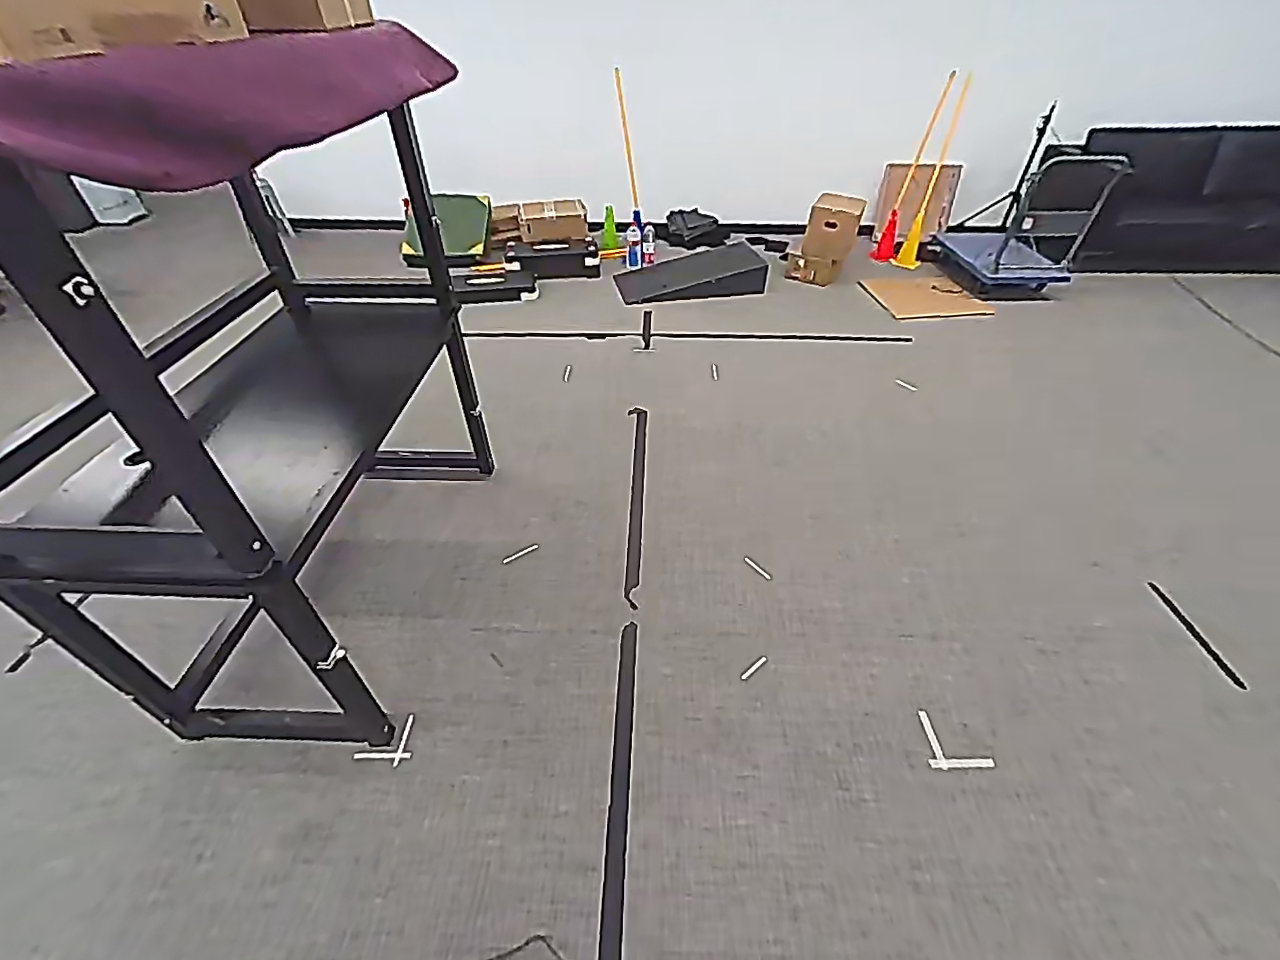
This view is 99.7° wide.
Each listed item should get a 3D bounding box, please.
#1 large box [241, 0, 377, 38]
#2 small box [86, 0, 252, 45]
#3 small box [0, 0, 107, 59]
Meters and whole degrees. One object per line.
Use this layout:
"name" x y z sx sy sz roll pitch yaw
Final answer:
"large box" -0.839 -1.129 1.125 0.408 0.320 0.320 -2 42 0
"small box" -0.786 -0.812 0.871 0.179 0.176 0.168 -1 42 -1
"small box" -0.791 -0.583 0.611 0.179 0.176 0.168 -5 42 -4
